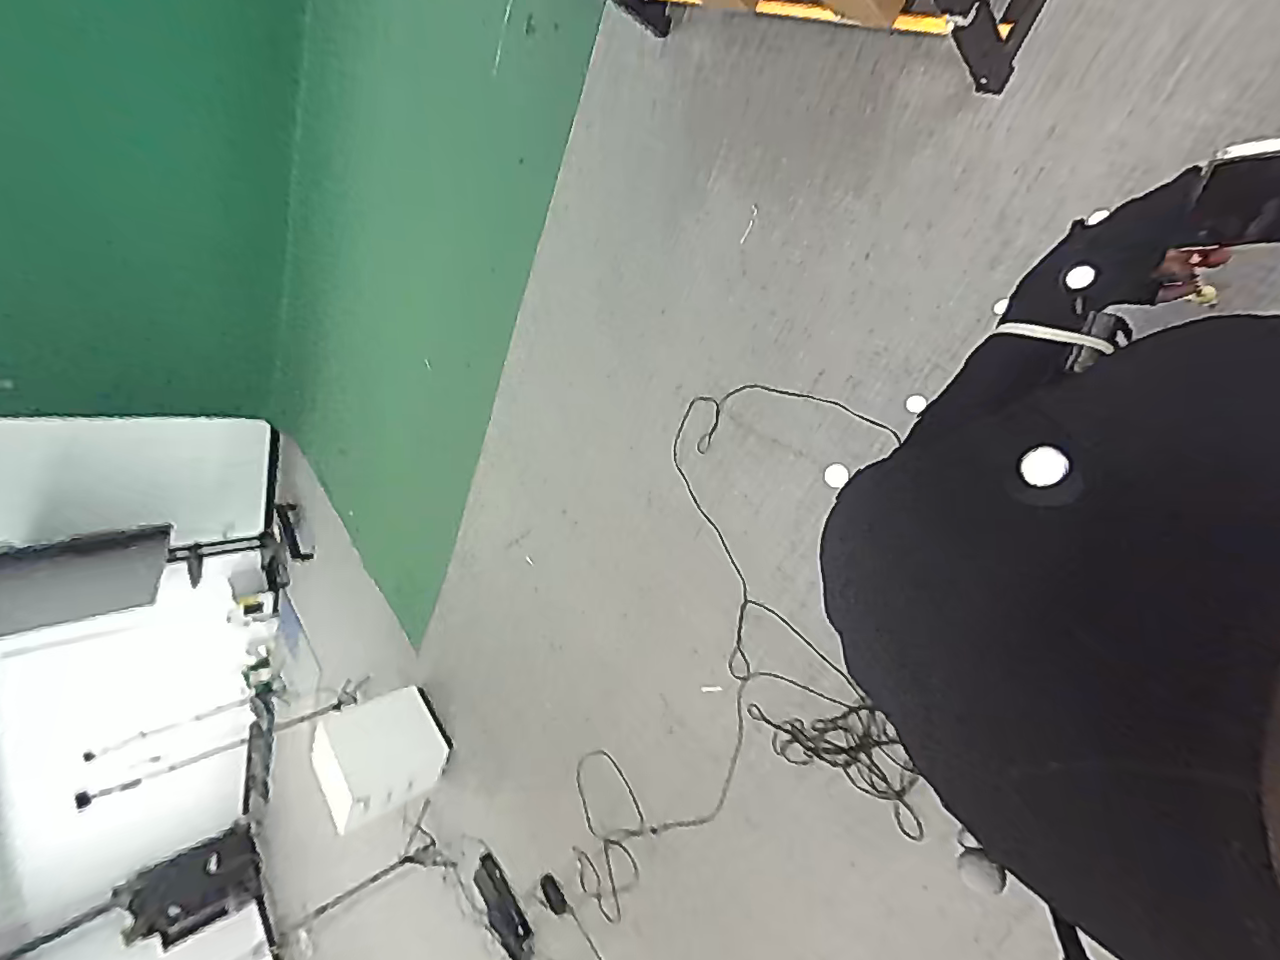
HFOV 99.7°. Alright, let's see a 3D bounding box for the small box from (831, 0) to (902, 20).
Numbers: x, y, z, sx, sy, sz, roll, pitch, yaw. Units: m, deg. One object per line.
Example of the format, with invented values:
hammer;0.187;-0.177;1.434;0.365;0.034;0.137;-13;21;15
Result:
small box;0.511;-1.167;1.194;0.168;0.176;0.179;44;122;30
